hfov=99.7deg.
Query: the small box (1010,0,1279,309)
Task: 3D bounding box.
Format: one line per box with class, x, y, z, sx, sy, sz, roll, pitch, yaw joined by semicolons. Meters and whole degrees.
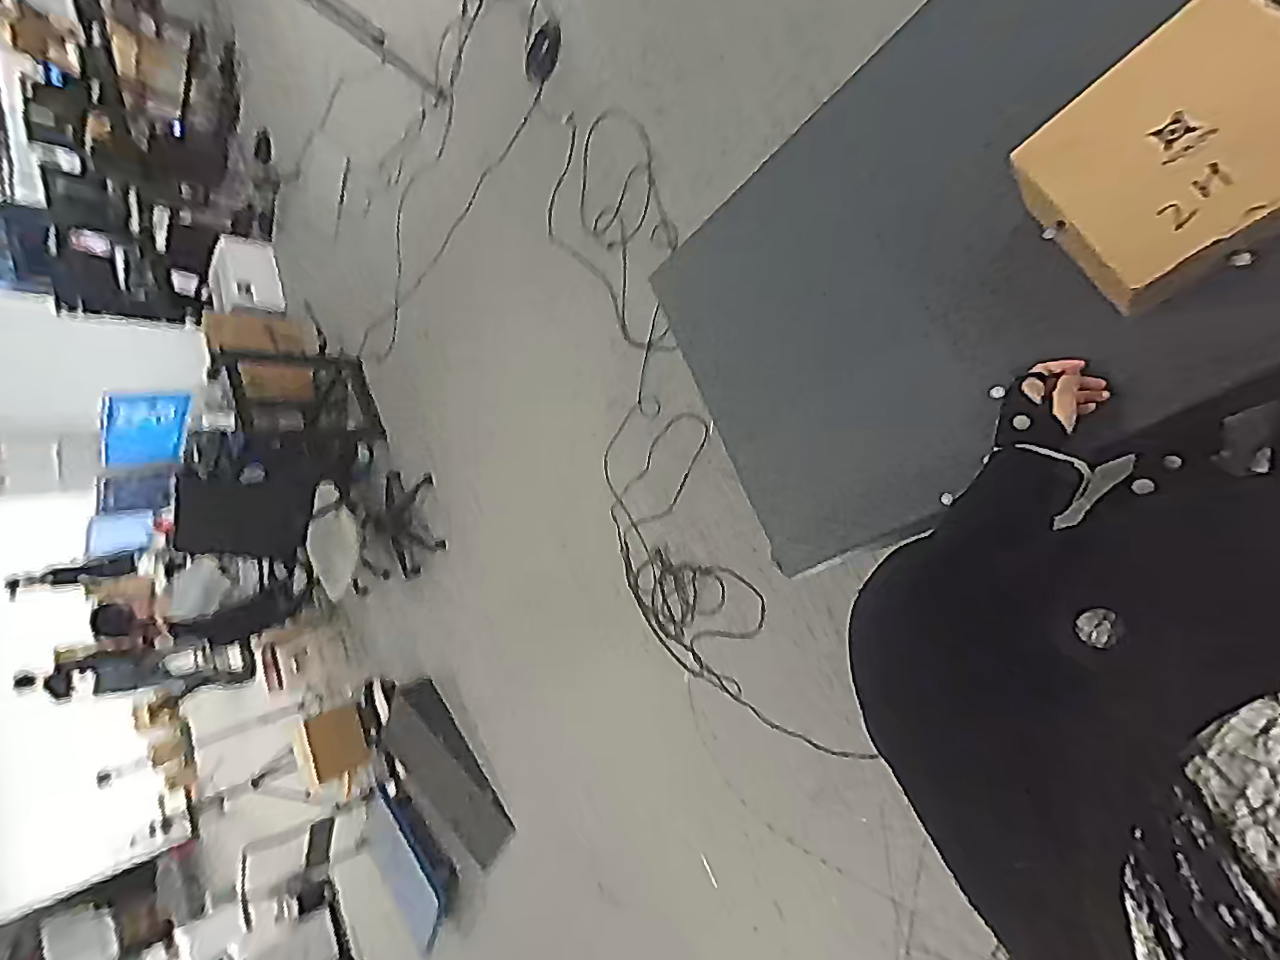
small box;0.481;-0.283;0.493;0.168;0.176;0.179;-40;68;36
